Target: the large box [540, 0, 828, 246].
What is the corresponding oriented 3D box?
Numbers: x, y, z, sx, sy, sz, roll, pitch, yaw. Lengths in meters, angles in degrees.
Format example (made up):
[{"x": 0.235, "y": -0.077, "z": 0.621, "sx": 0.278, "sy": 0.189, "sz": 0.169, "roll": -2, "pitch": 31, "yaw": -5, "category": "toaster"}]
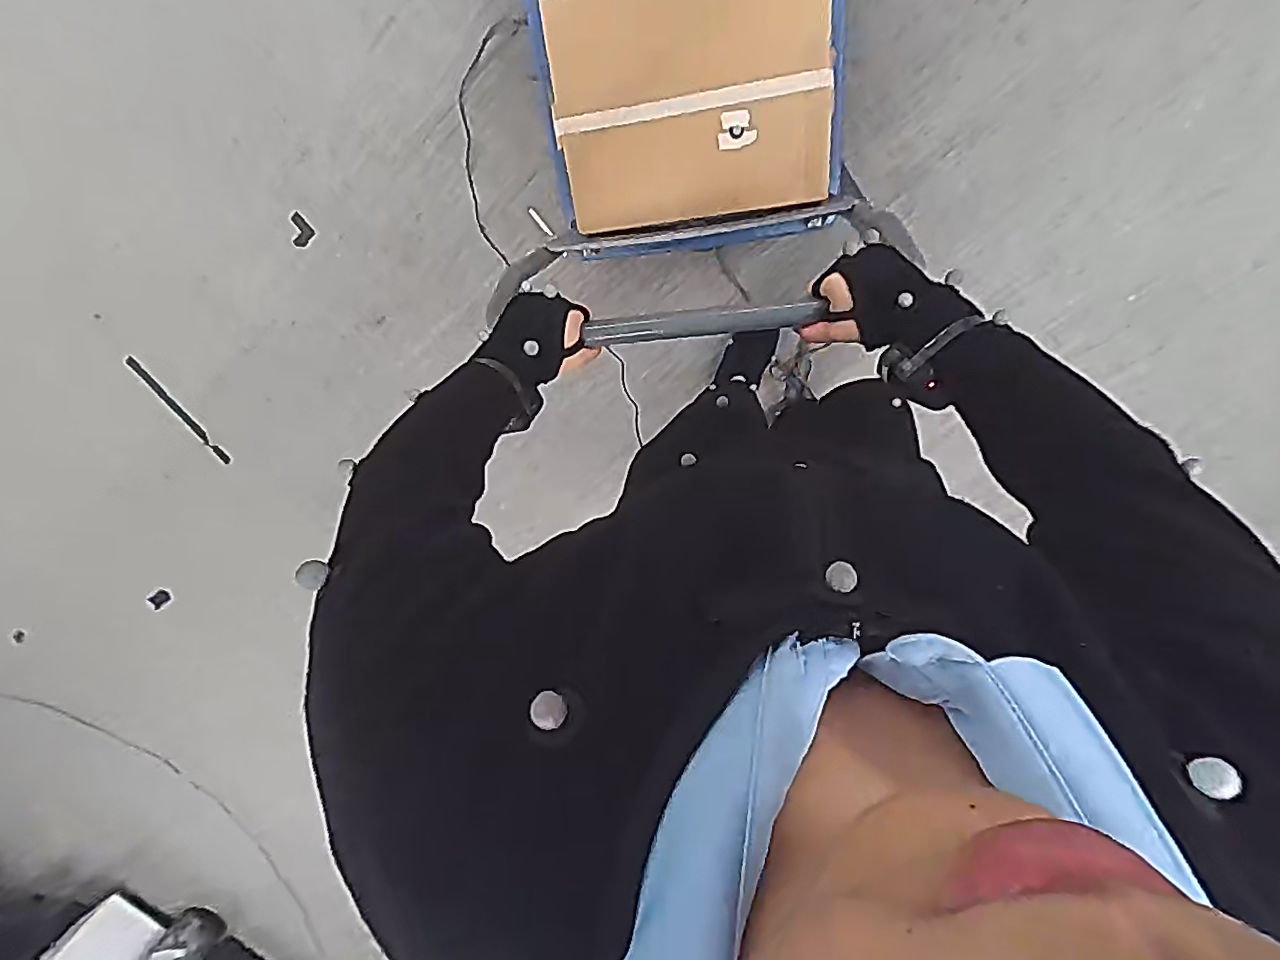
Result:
[{"x": 0.087, "y": -0.610, "z": 0.934, "sx": 0.408, "sy": 0.320, "sz": 0.320, "roll": -5, "pitch": 117, "yaw": 9, "category": "large box"}]
